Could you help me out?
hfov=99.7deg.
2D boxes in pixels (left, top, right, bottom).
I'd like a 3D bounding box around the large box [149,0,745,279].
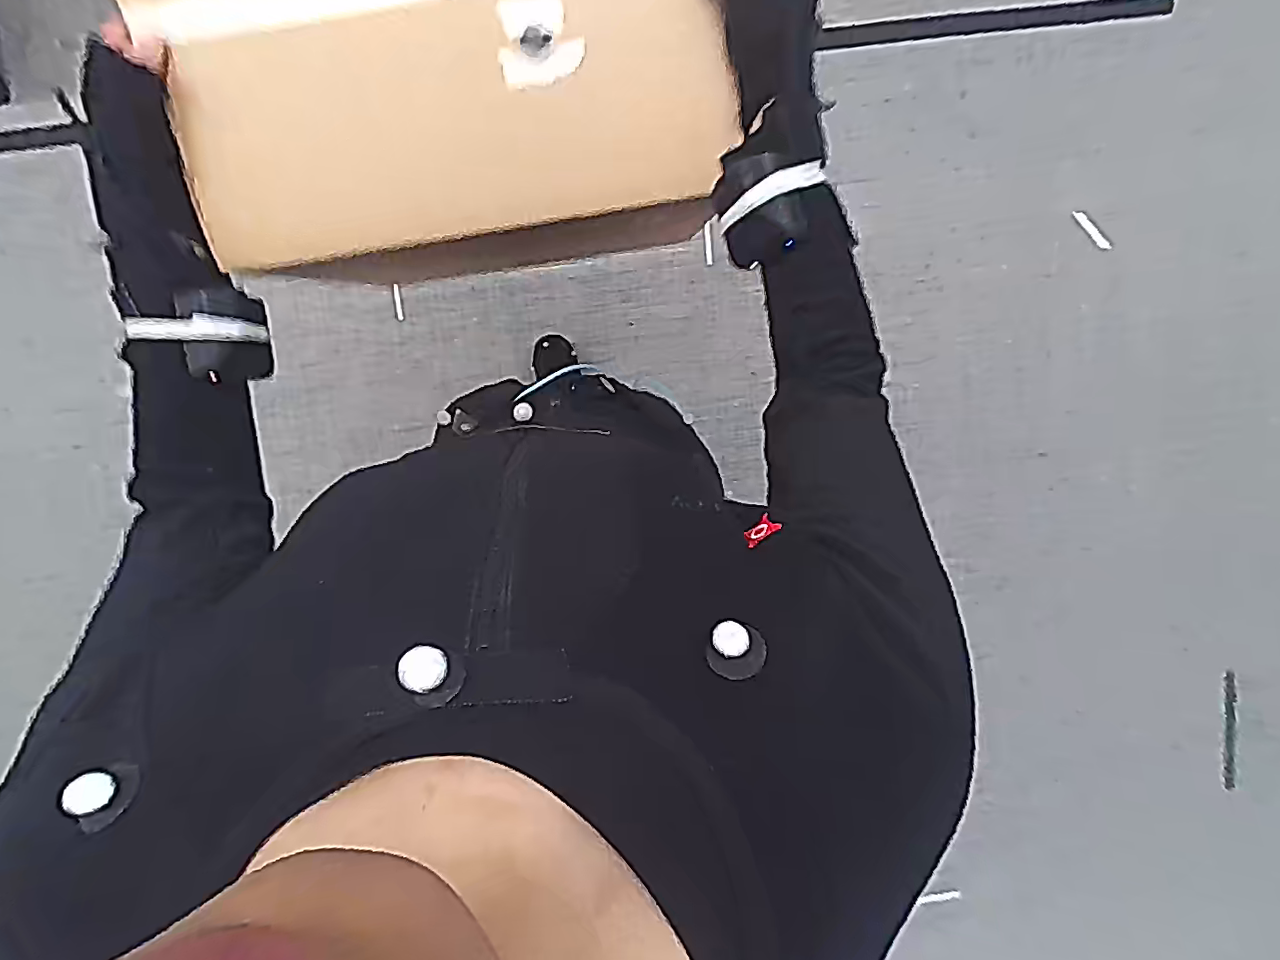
[{"bbox_3d":[-0.148,-0.390,0.512,0.408,0.320,0.320,-9,109,-1],"label":"large box"}]
